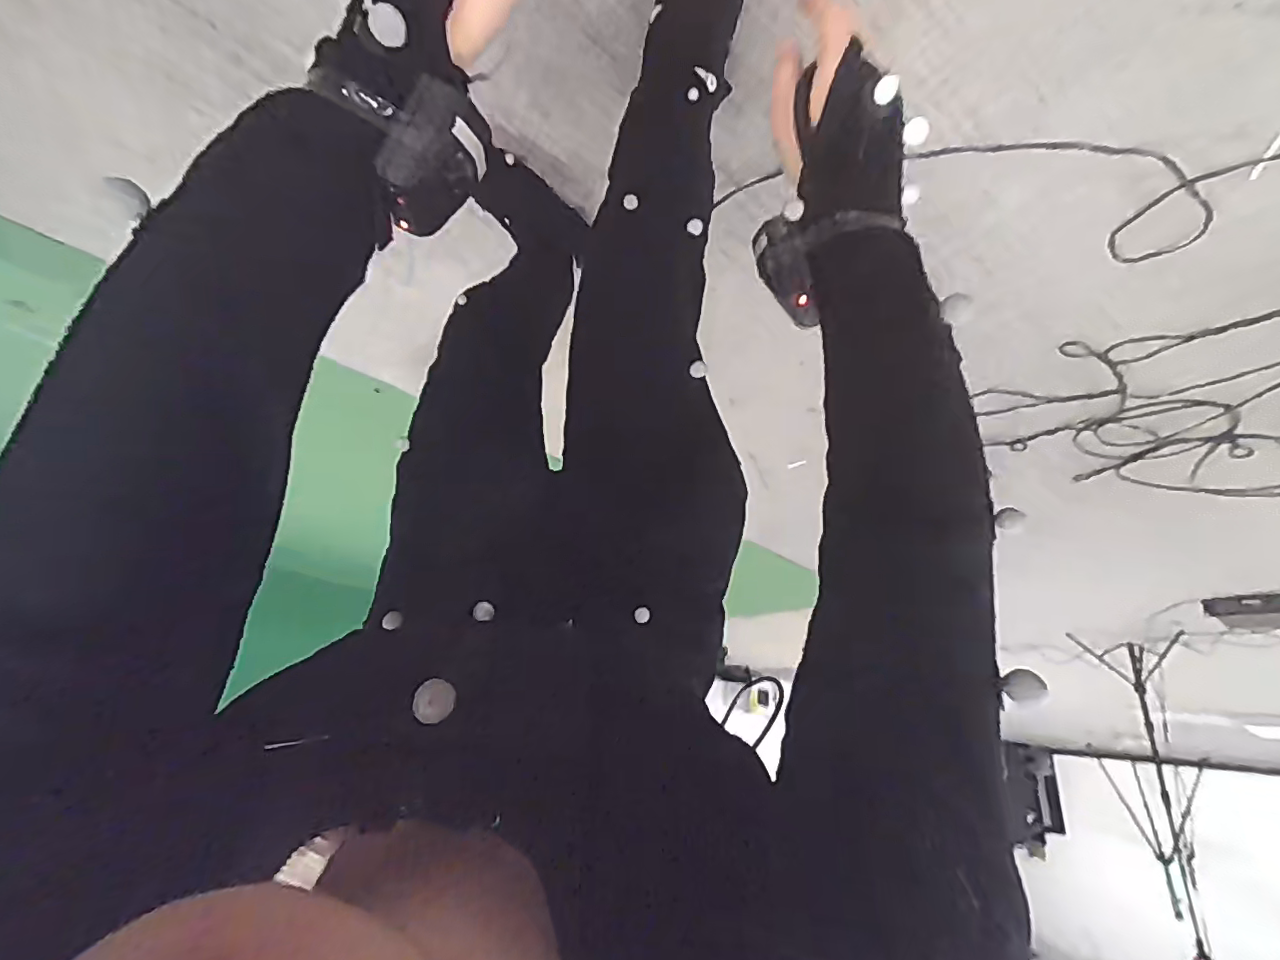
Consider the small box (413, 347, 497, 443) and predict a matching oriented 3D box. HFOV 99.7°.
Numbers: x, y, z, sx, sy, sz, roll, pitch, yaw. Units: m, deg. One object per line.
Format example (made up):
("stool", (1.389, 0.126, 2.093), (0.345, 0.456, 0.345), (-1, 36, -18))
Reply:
("small box", (-0.500, -0.231, 1.468), (0.168, 0.176, 0.179), (20, 153, -20))
